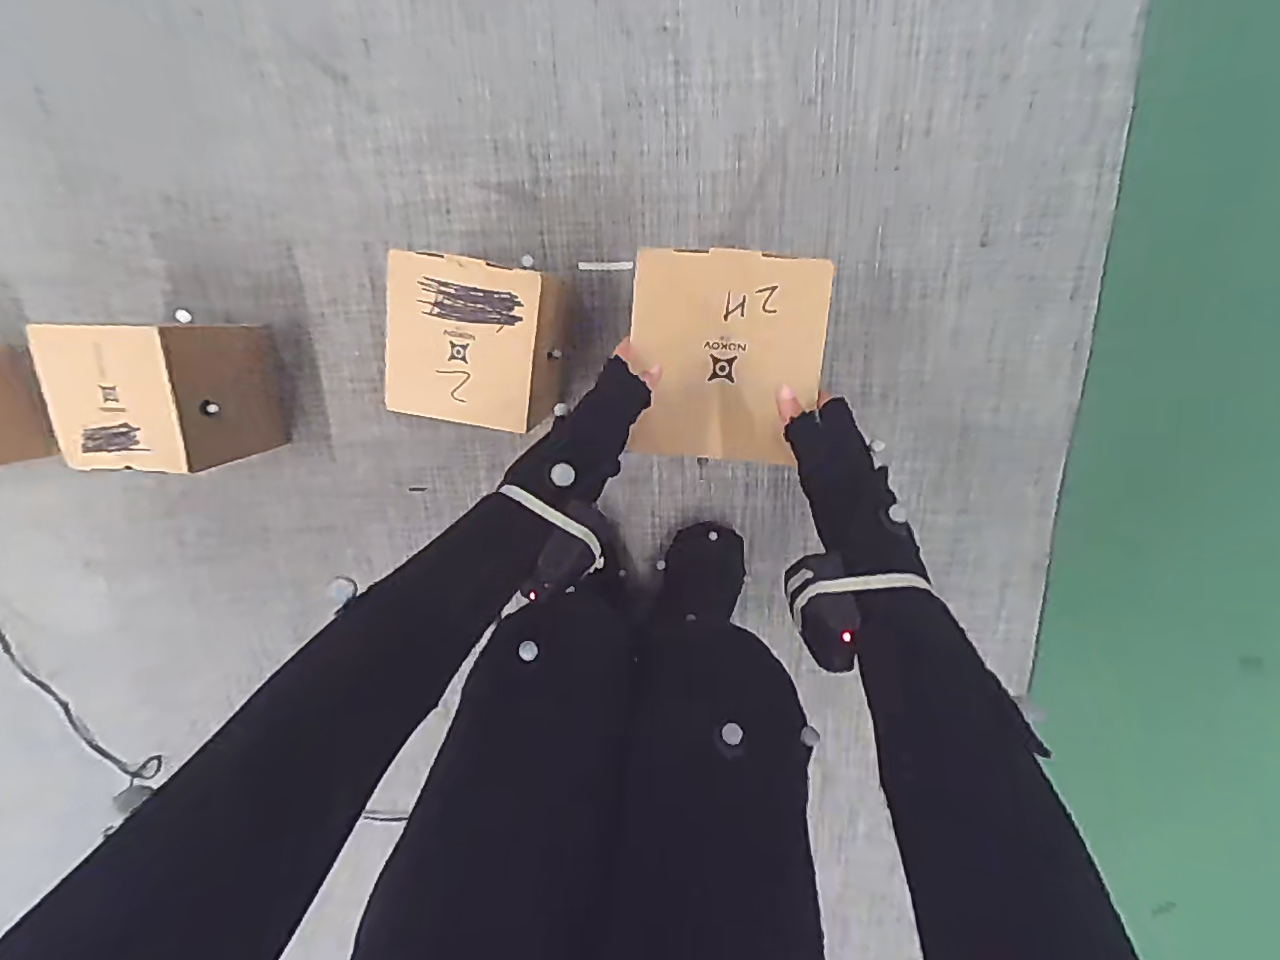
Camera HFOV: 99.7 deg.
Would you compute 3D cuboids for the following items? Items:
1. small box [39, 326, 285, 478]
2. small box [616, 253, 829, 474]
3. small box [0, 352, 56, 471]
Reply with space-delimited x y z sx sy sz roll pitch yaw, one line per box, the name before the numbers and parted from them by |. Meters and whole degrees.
small box | -0.612 -0.112 0.722 0.168 0.176 0.179 2 106 5
small box | 0.073 -0.109 0.541 0.168 0.176 0.179 5 97 3
small box | -1.013 -0.092 0.765 0.168 0.176 0.179 -2 106 6
